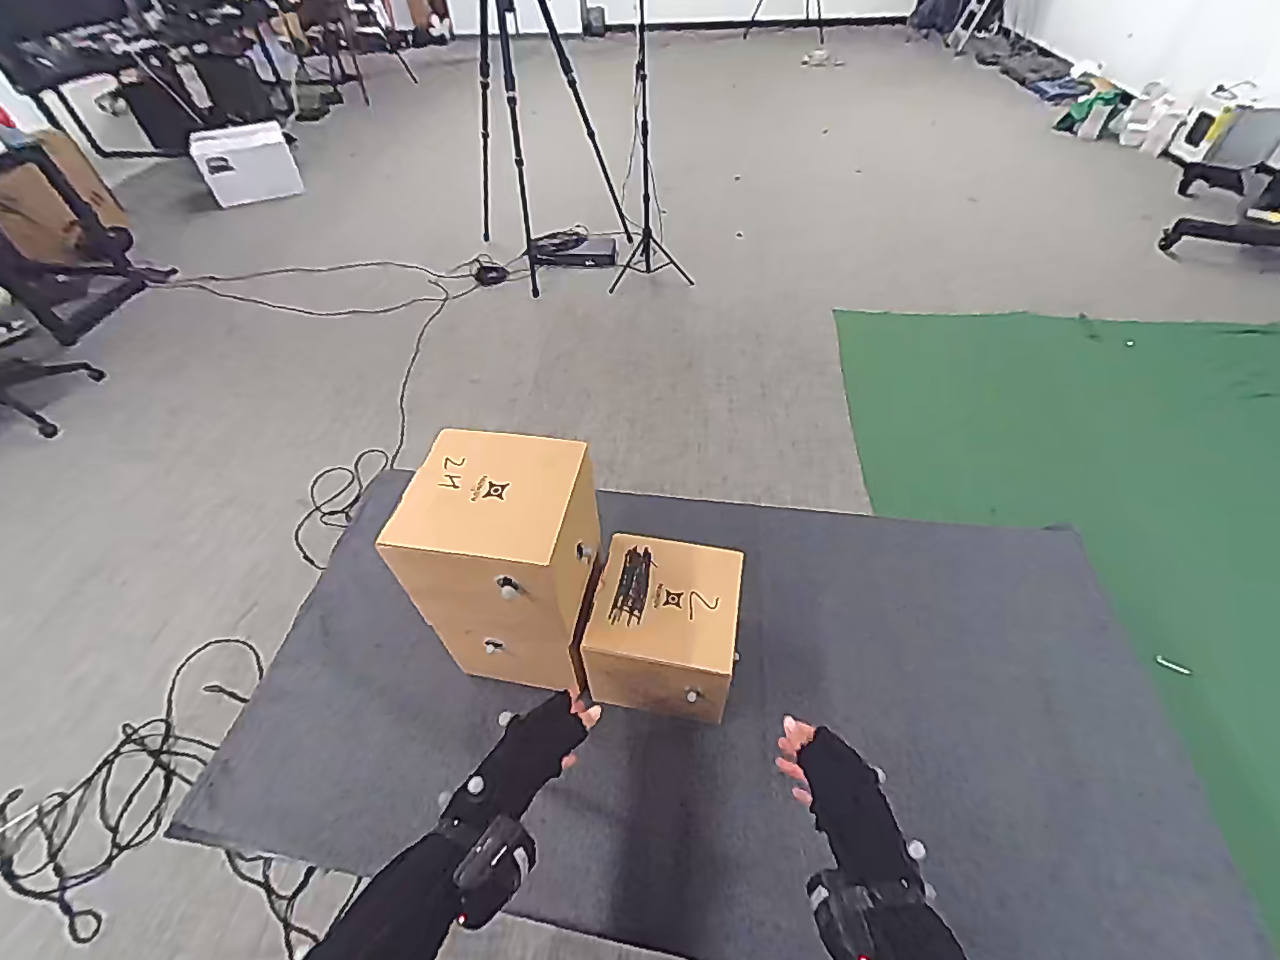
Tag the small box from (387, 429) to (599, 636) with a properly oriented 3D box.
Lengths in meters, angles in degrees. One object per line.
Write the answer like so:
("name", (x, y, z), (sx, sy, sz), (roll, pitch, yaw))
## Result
("small box", (-0.149, 0.064, 0.628), (0.179, 0.176, 0.168), (6, 48, 7))
